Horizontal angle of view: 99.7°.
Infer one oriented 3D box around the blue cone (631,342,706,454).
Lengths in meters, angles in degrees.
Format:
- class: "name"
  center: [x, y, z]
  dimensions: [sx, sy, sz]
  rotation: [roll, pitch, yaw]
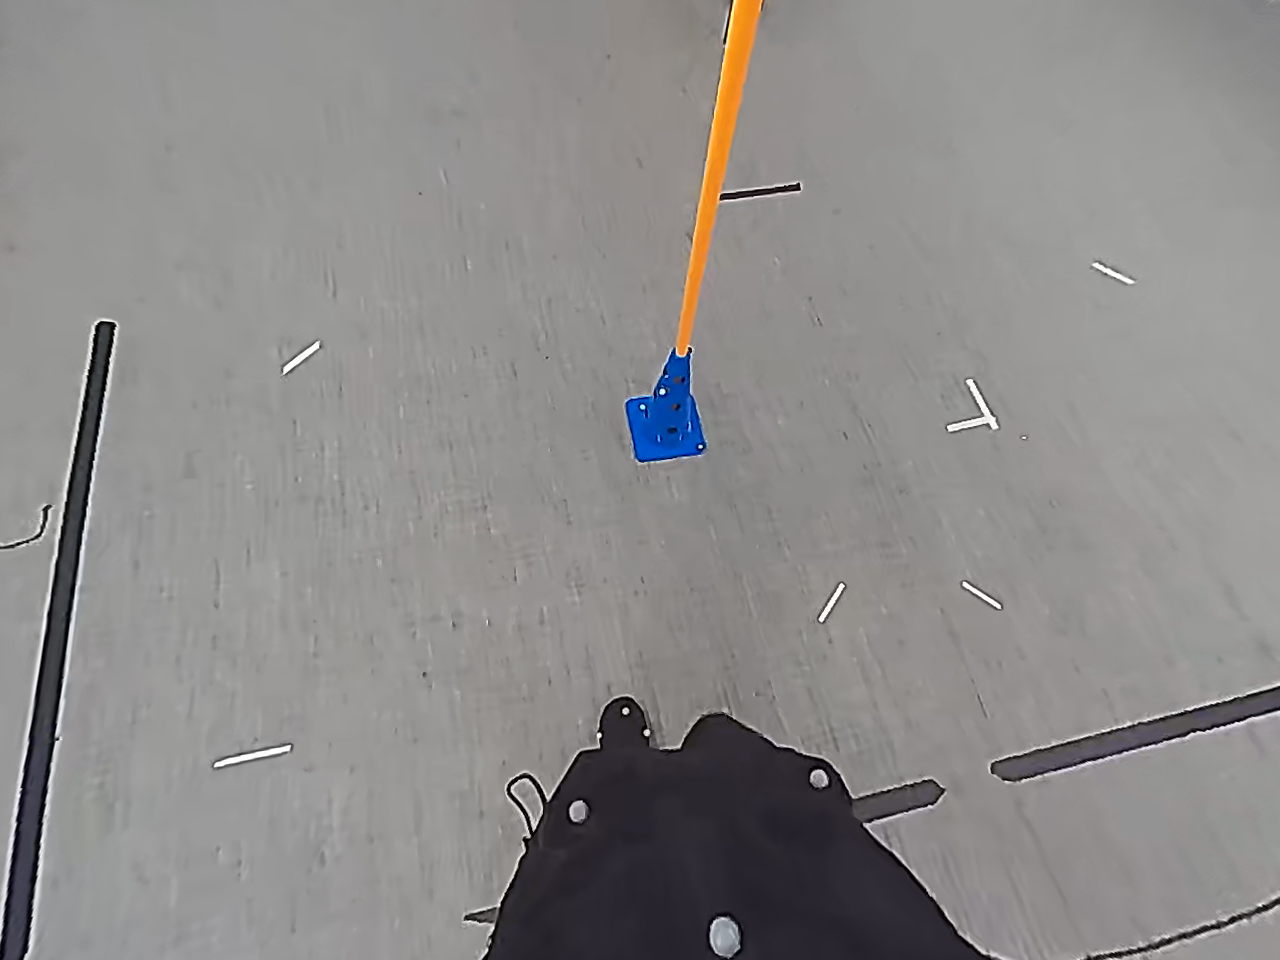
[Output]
- class: "blue cone"
  center: [0.088, -0.220, 1.357]
  dimensions: [0.192, 0.380, 0.193]
  rotation: [-7, 69, -7]
